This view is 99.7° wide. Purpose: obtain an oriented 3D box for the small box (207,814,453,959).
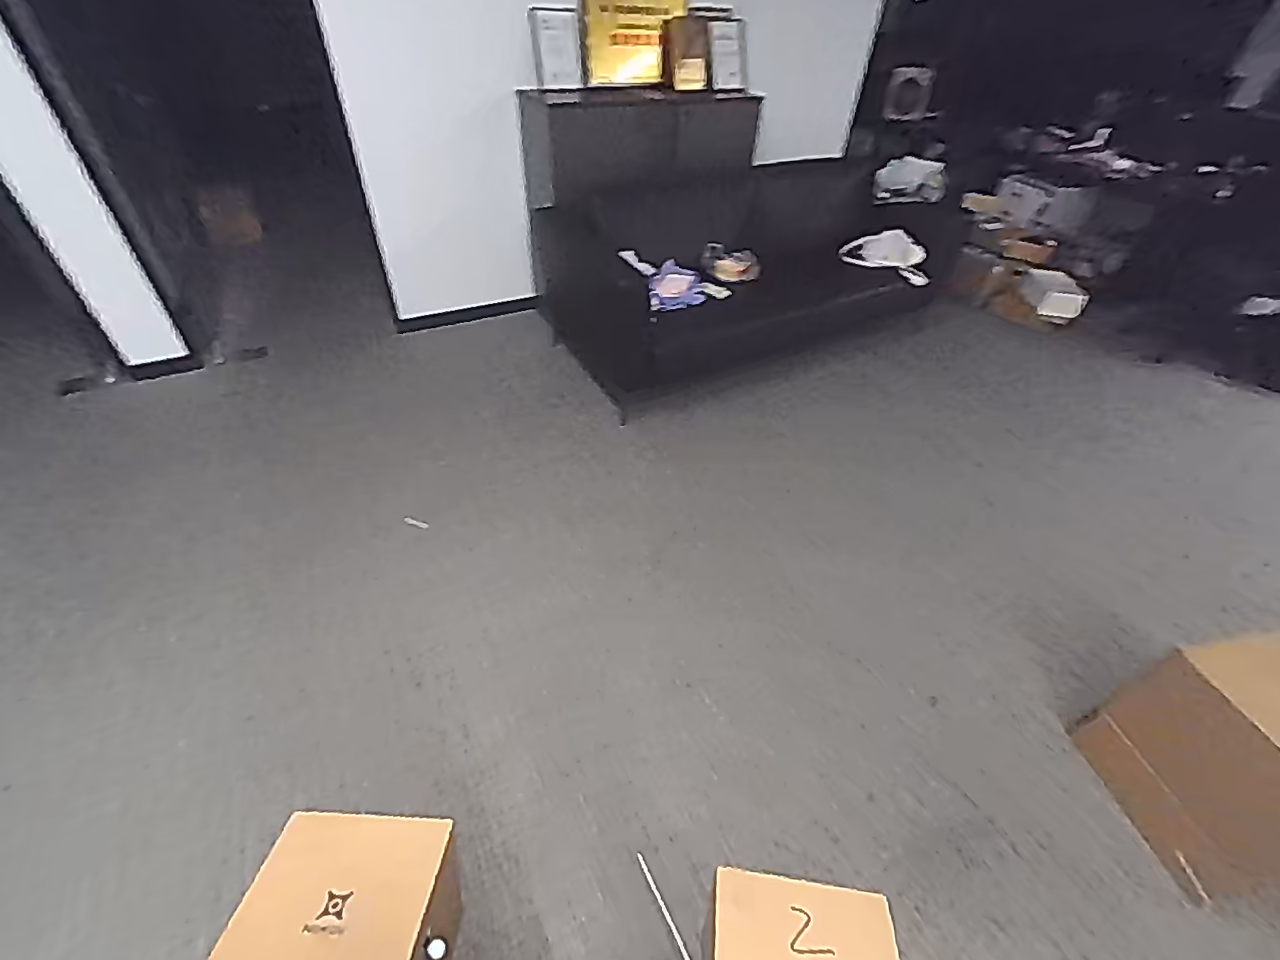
[{"bbox_3d":[-0.287,0.463,0.522,0.168,0.176,0.179,4,26,-3],"label":"small box"}]
